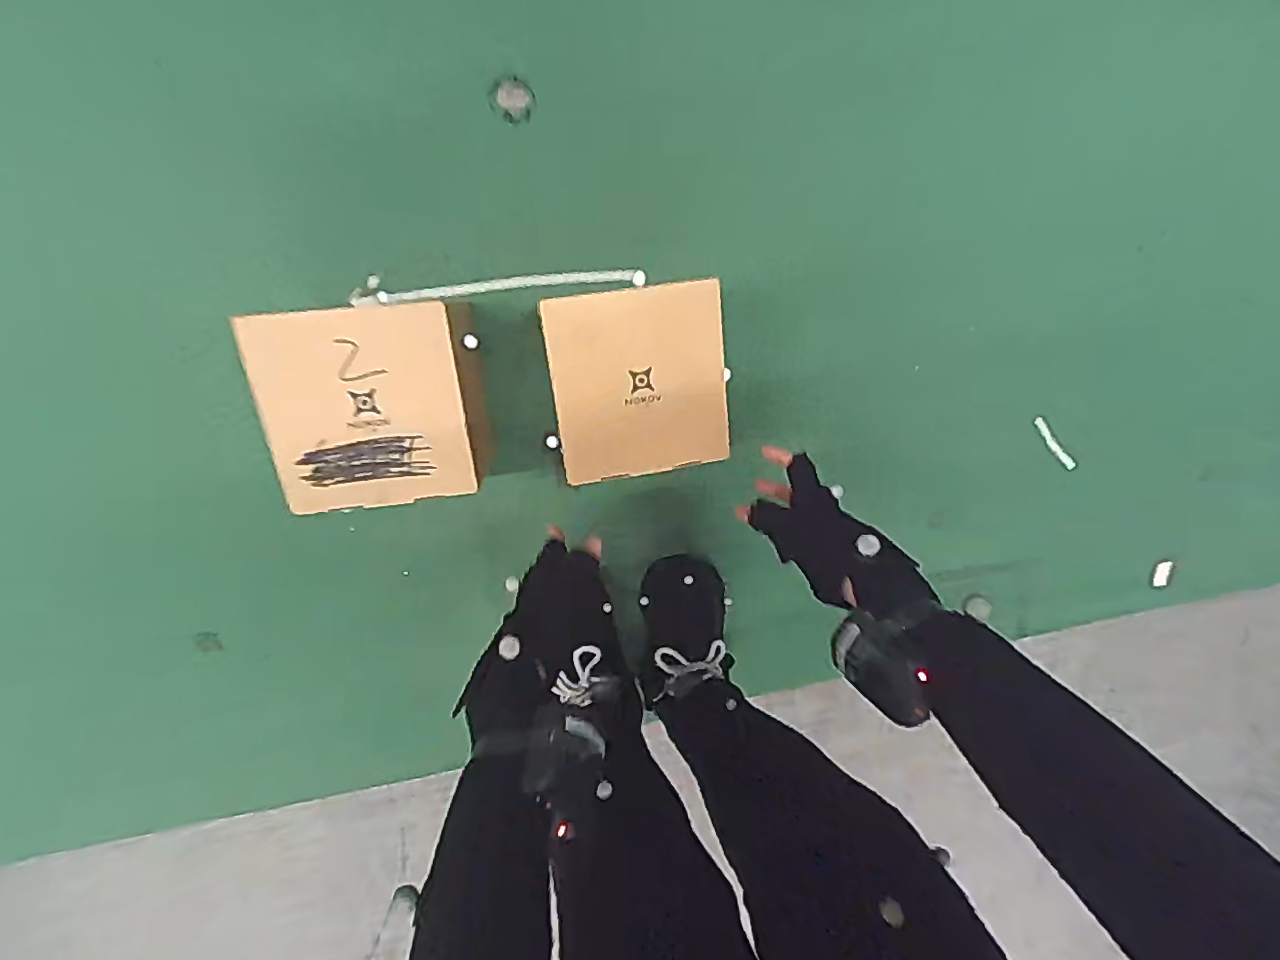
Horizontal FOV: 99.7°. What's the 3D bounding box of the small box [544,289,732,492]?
[{"bbox_3d":[-0.010,-0.105,0.588,0.168,0.176,0.179,-10,110,-8],"label":"small box"}]
